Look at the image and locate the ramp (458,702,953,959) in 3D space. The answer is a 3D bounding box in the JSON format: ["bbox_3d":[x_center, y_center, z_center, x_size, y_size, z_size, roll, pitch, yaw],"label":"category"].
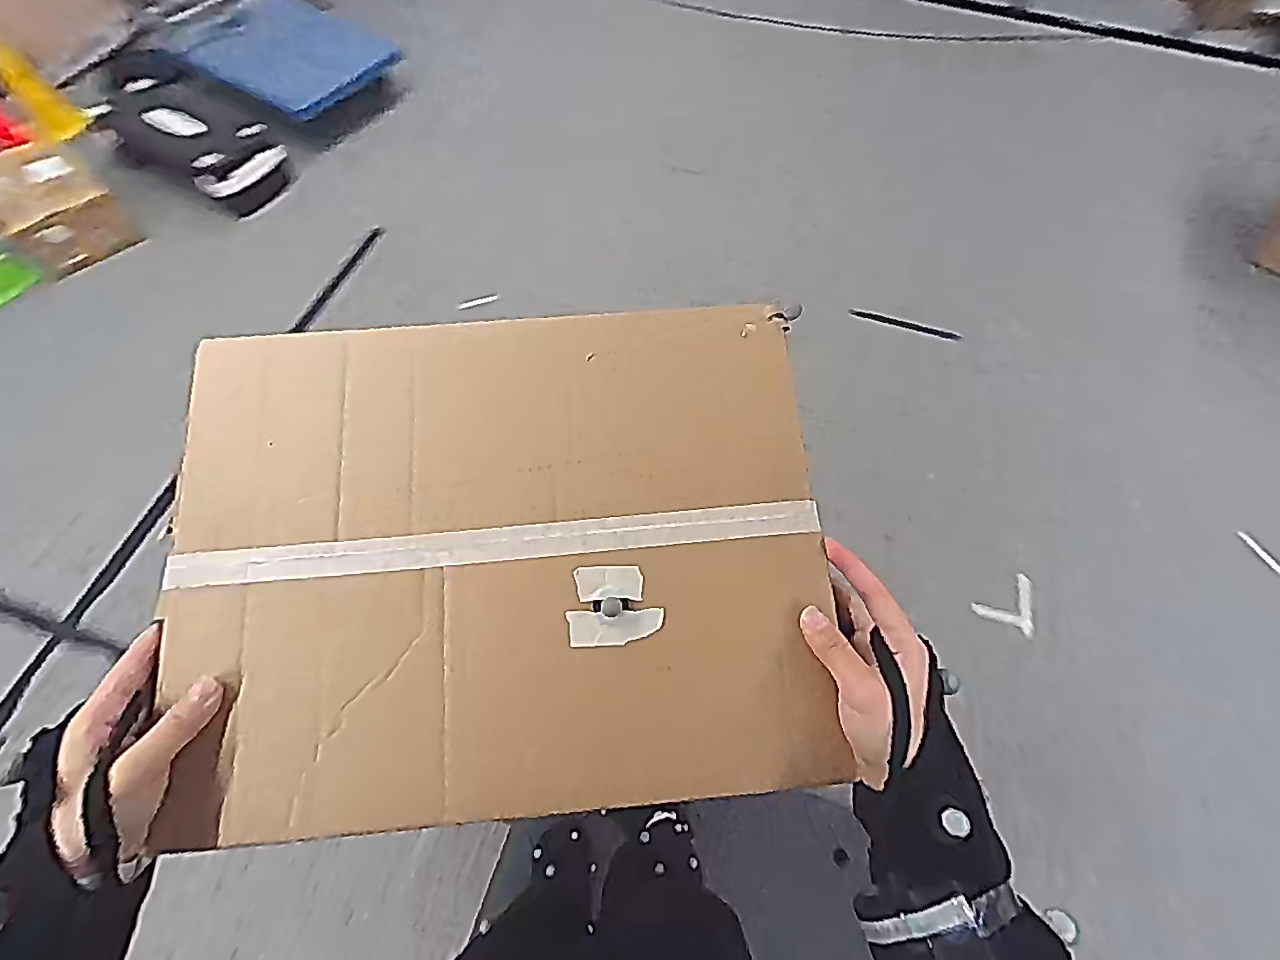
[{"bbox_3d":[0.193,0.873,1.125,0.991,0.206,0.509,16,63,5],"label":"ramp"}]
